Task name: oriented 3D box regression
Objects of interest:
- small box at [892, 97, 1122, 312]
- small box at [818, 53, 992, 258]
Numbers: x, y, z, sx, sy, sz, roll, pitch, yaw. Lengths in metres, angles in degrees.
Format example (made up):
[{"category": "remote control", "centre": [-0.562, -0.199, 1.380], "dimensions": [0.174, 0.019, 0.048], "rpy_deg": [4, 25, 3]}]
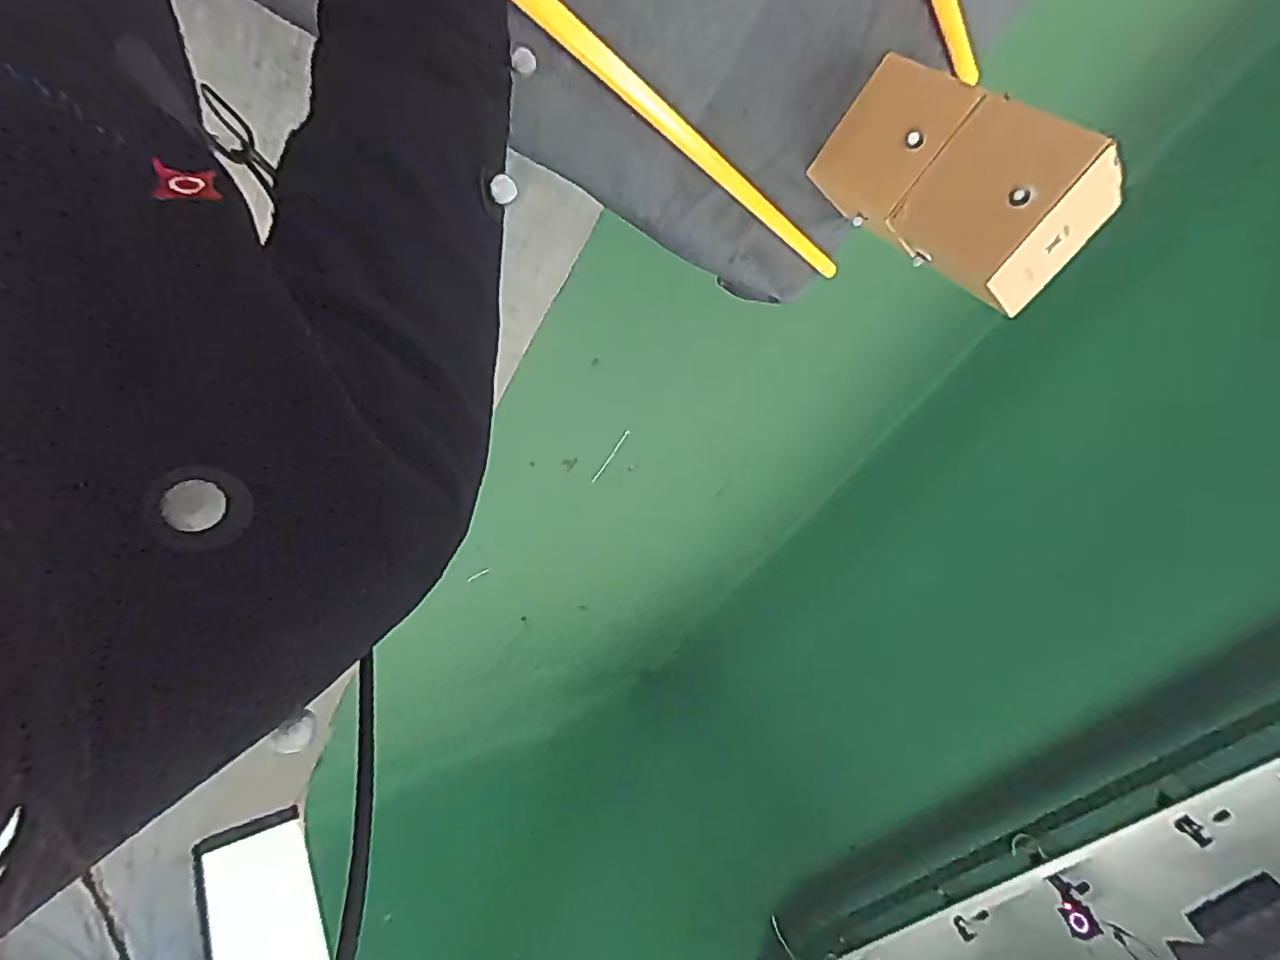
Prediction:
[{"category": "small box", "centre": [0.479, -0.360, 0.716], "dimensions": [0.168, 0.176, 0.179], "rpy_deg": [4, 131, -46]}, {"category": "small box", "centre": [0.390, -0.471, 0.796], "dimensions": [0.168, 0.176, 0.179], "rpy_deg": [5, 130, -48]}]
